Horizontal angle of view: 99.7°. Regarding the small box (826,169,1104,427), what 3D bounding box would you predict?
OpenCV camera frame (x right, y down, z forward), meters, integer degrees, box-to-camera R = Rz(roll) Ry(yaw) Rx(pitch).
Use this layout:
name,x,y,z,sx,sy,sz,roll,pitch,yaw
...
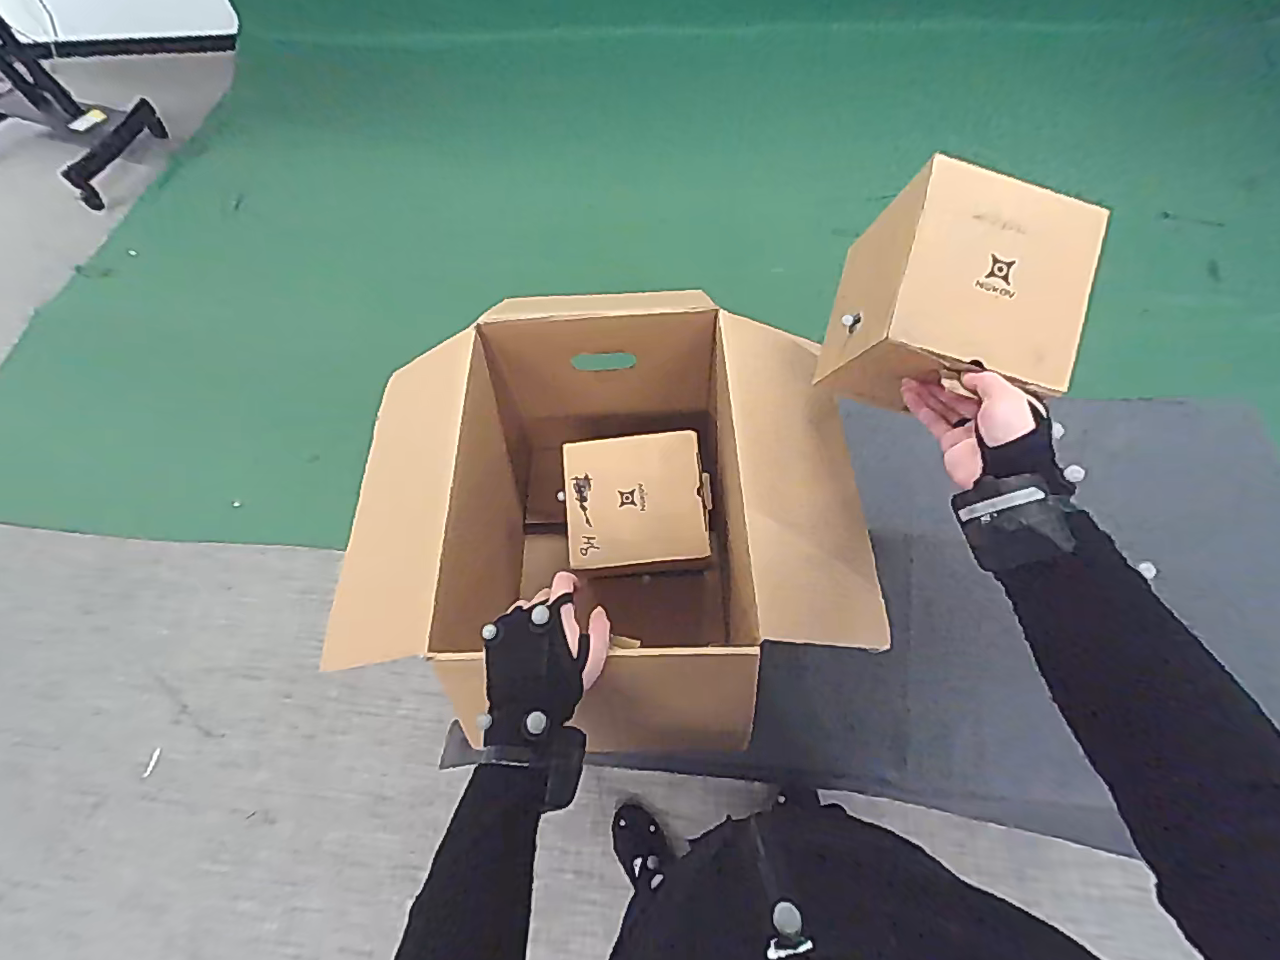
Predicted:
name,x,y,z,sx,sy,sz,roll,pitch,yaw
small box,0.312,-0.167,0.557,0.168,0.176,0.179,17,83,-2
